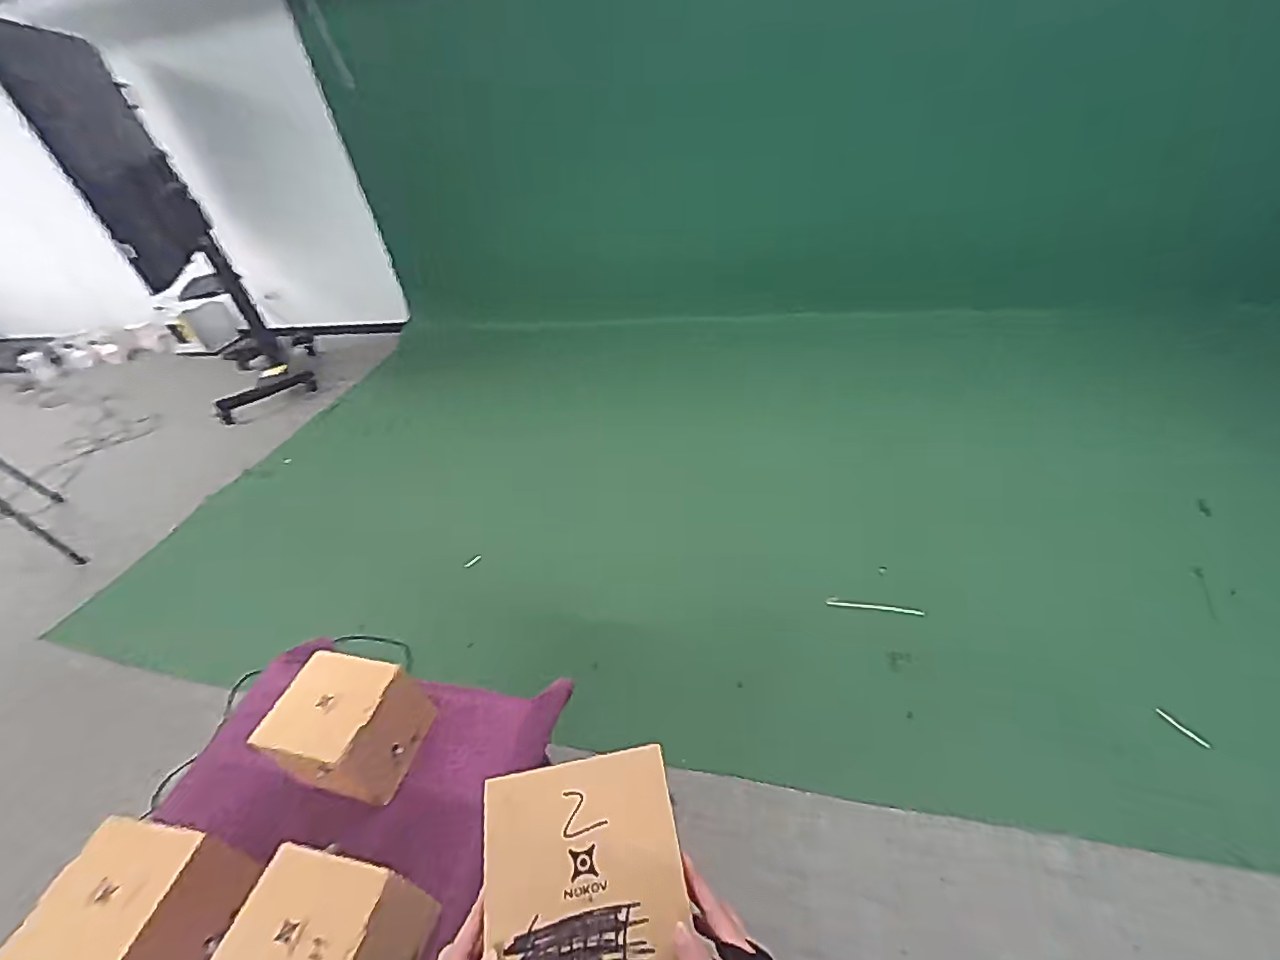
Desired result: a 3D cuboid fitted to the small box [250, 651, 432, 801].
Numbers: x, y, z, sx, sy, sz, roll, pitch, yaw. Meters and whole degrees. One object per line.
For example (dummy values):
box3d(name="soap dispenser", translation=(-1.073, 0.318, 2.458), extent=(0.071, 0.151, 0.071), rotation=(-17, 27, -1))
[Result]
box3d(name="small box", translation=(-0.496, 0.420, 0.924), extent=(0.179, 0.176, 0.168), rotation=(4, 41, 15))

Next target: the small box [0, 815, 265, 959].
box3d(name="small box", translation=(-0.681, 0.595, 0.746), extent=(0.179, 0.176, 0.168), rotation=(2, 41, 12))

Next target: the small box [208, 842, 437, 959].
box3d(name="small box", translation=(-0.397, 0.595, 0.684), extent=(0.179, 0.176, 0.168), rotation=(2, 40, 16))
